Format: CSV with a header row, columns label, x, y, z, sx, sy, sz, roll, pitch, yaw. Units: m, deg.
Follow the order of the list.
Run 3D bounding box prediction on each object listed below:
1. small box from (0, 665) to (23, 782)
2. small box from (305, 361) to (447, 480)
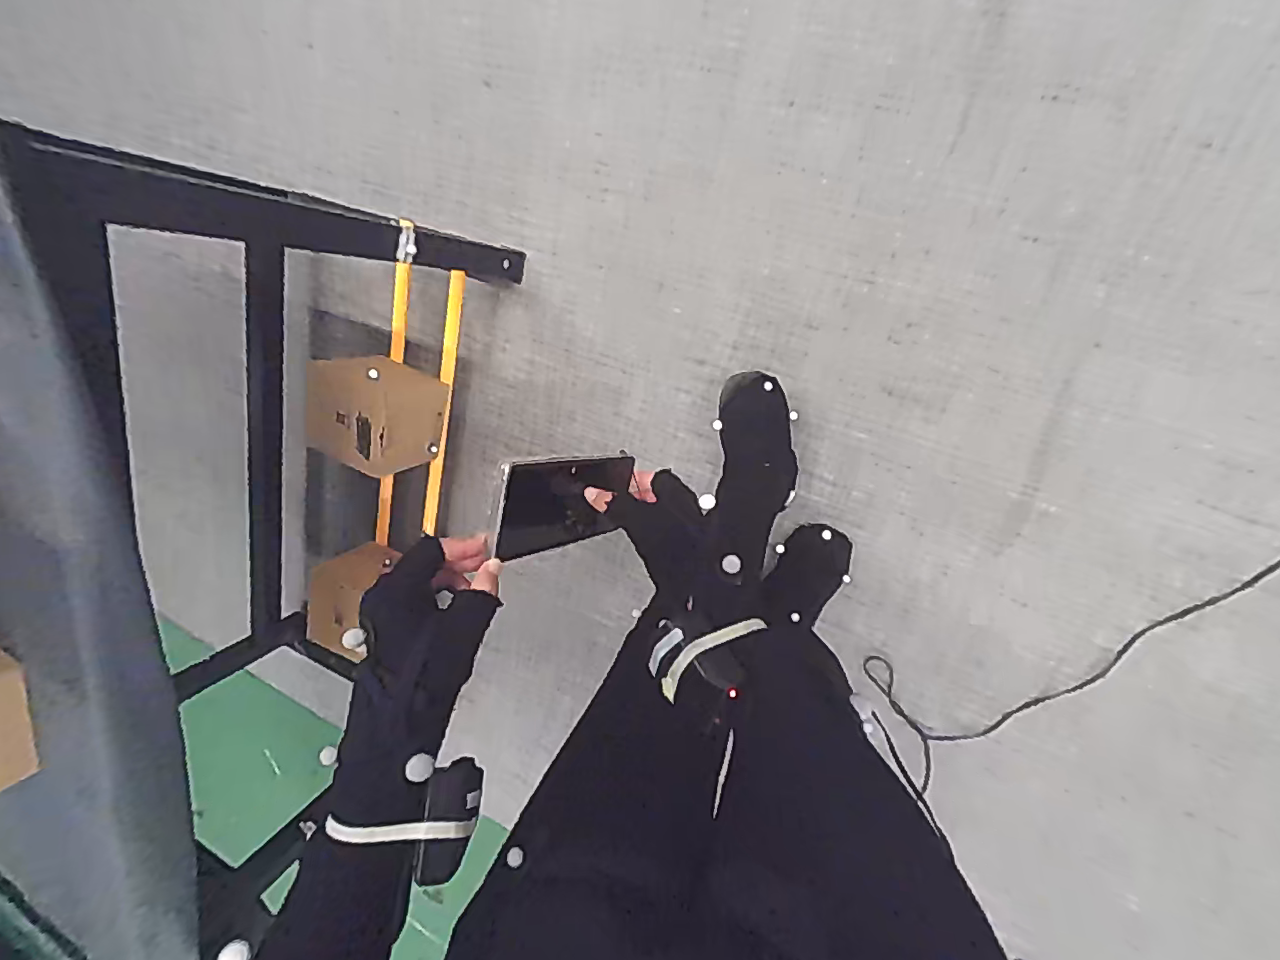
label,x,y,z,sx,sy,sz,roll,pitch,yaw
small box,-0.829,0.276,0.584,0.168,0.176,0.179,24,112,13
small box,-0.501,-0.124,1.038,0.179,0.176,0.168,24,111,13
